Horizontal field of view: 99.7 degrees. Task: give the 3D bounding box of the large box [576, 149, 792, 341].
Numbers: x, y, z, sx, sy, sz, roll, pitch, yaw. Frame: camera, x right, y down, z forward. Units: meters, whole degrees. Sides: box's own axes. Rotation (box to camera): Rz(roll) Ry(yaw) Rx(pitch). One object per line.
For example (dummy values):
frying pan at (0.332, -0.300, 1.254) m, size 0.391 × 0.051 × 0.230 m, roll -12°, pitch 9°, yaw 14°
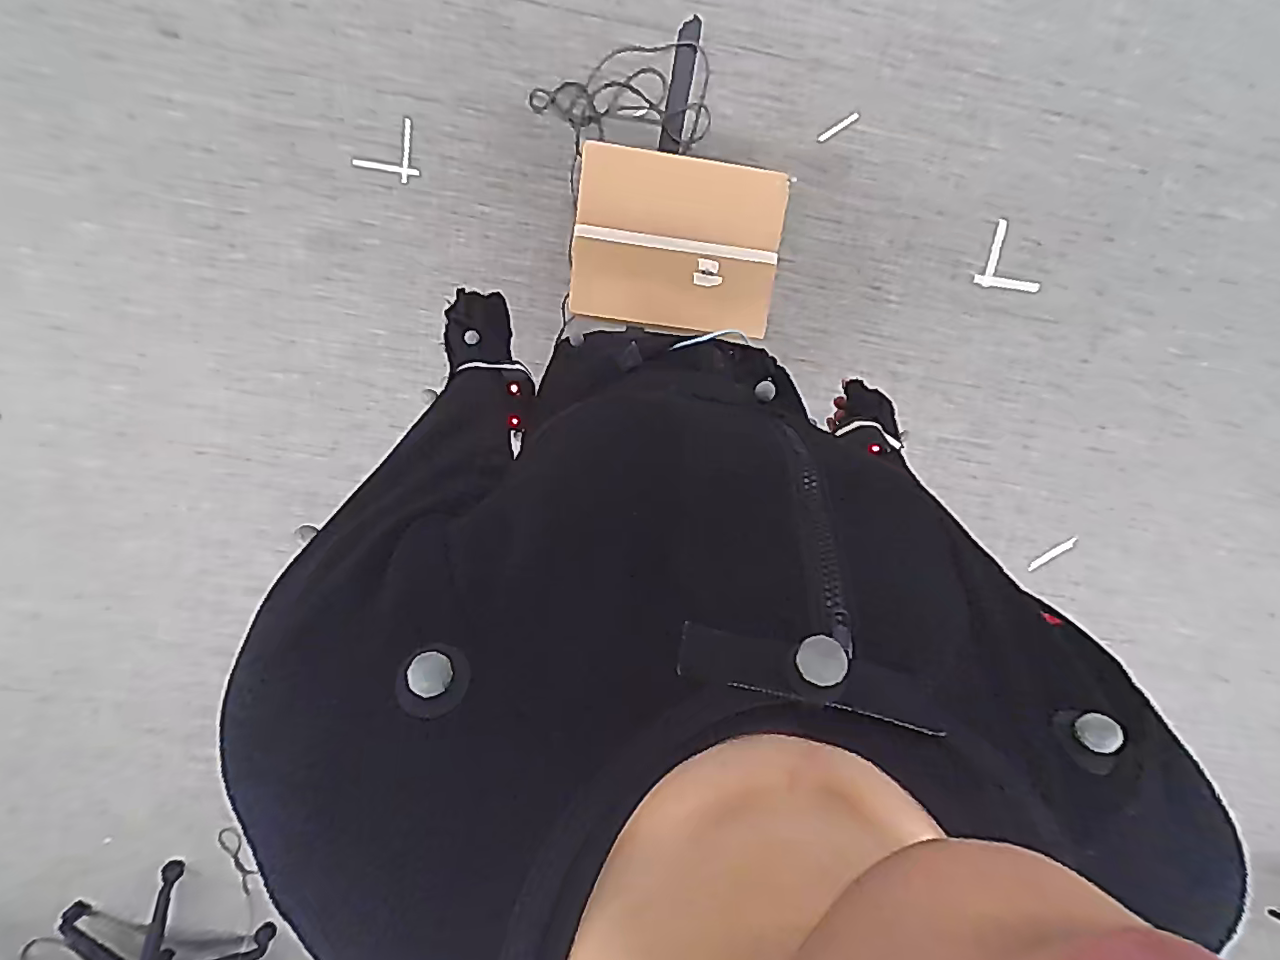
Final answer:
large box at (0.074, -0.496, 1.220) m, size 0.408 × 0.320 × 0.320 m, roll 7°, pitch 104°, yaw -6°
